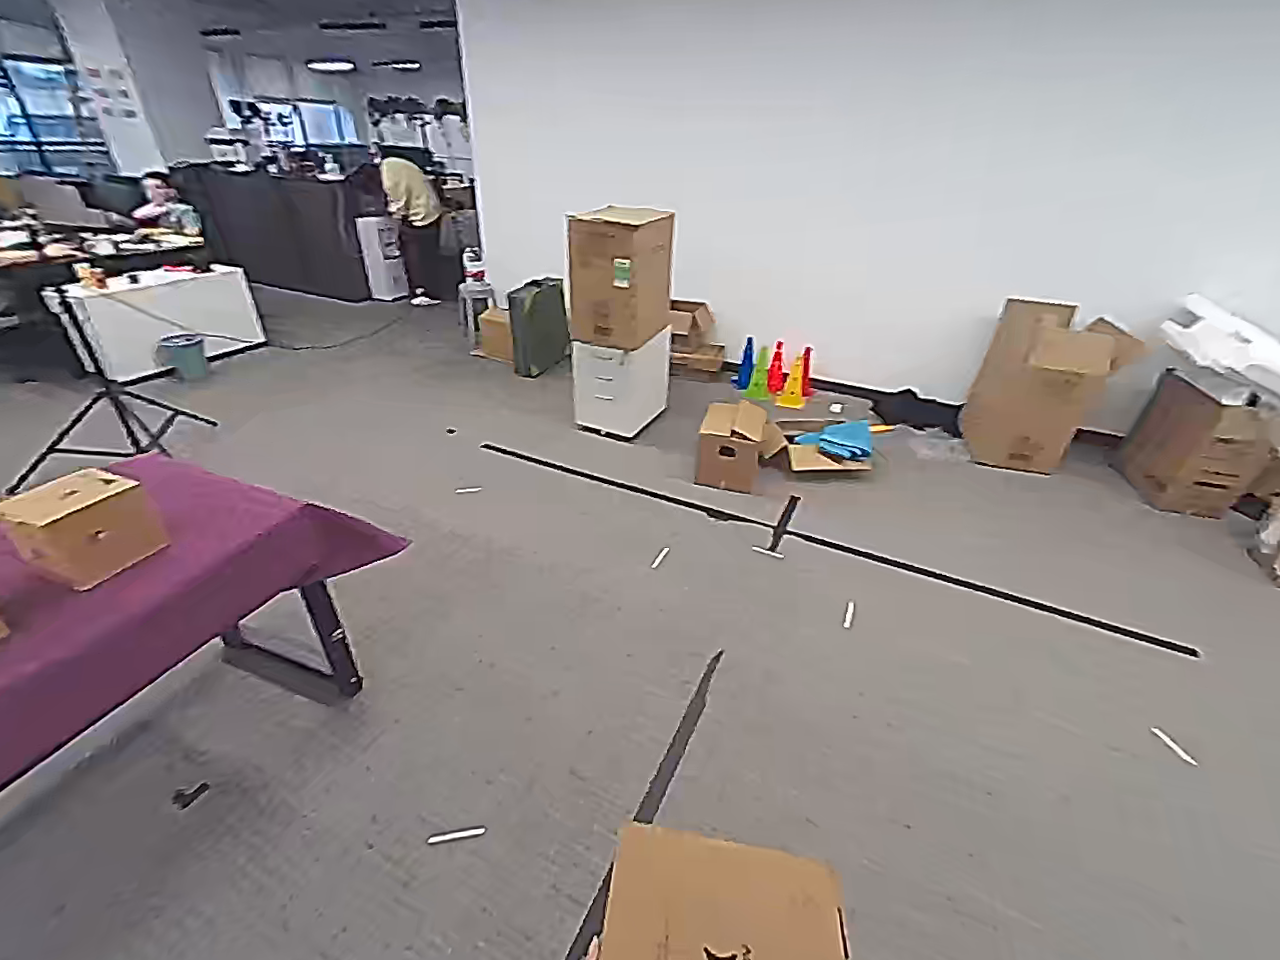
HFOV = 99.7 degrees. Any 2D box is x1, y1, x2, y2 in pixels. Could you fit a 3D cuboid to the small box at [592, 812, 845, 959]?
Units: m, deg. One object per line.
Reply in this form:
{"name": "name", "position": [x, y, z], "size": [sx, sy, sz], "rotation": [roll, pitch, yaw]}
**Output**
{"name": "small box", "position": [0.049, 0.393, 0.416], "size": [0.179, 0.176, 0.168], "rotation": [7, 35, 4]}

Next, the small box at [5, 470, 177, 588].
{"name": "small box", "position": [-1.165, 0.105, 1.164], "size": [0.168, 0.176, 0.179], "rotation": [13, 34, 17]}
